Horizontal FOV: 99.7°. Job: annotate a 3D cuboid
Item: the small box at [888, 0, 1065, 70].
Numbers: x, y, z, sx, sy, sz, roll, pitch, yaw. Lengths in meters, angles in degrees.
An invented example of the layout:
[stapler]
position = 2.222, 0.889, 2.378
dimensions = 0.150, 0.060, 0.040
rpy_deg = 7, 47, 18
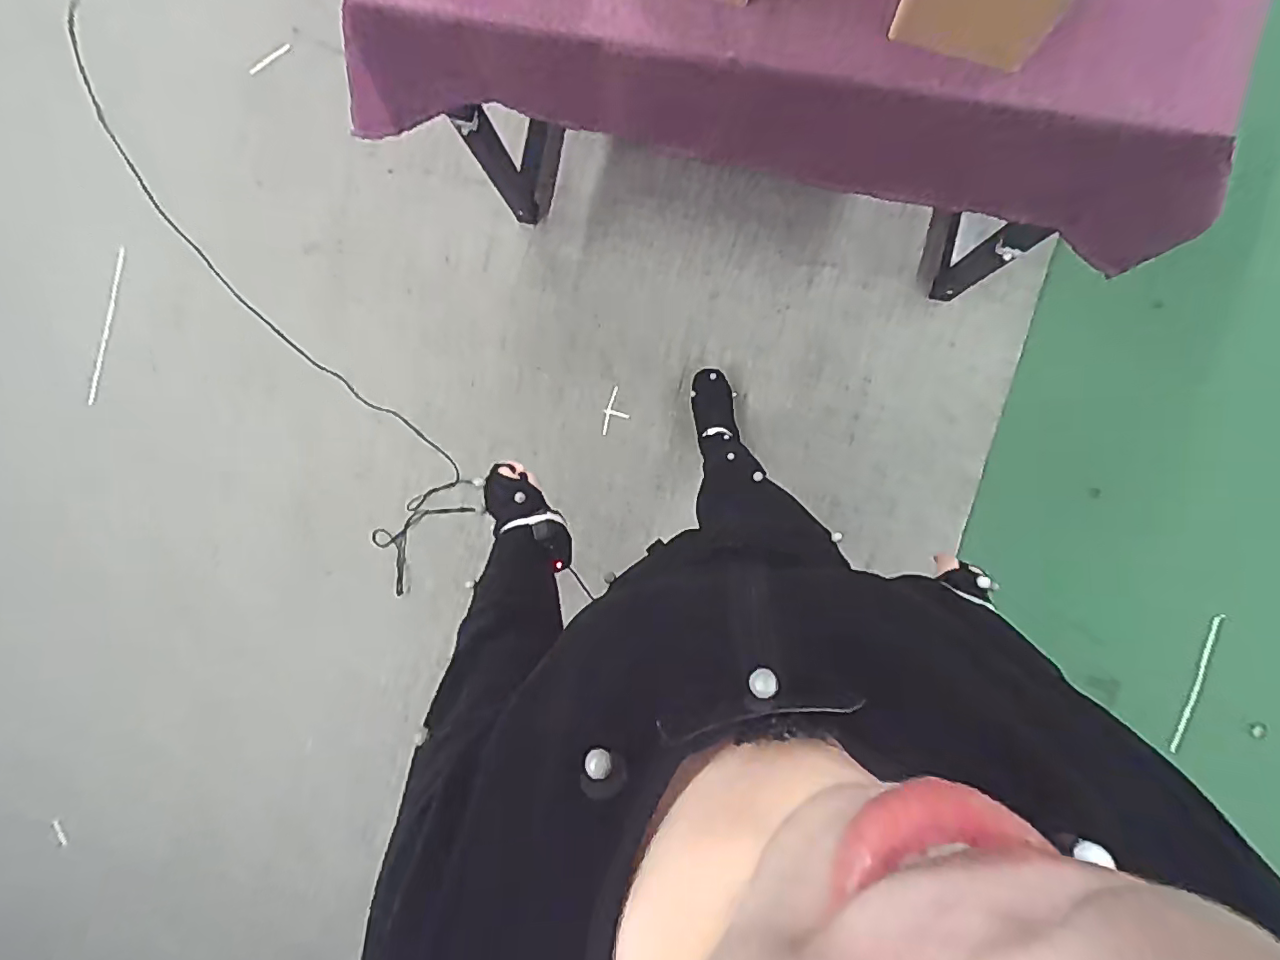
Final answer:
[small box]
position = 0.420, -0.627, 0.626
dimensions = 0.179, 0.176, 0.168
rpy_deg = 19, 93, 4
